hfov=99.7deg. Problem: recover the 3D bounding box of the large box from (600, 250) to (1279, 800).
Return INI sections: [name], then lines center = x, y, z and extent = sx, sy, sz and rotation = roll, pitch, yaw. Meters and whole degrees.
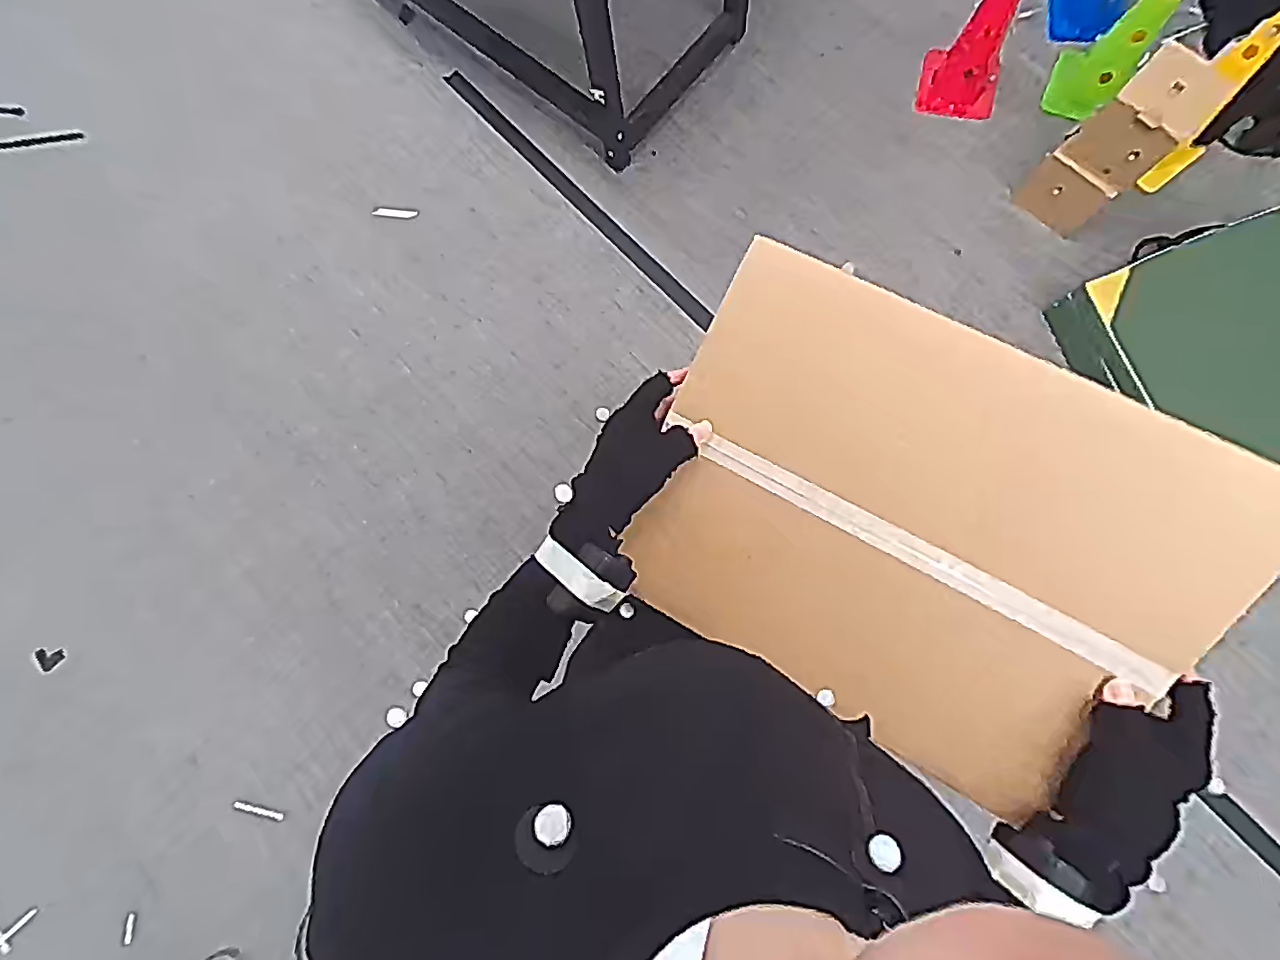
[large box]
center = 0.234, 0.012, 0.567
extent = 0.408, 0.320, 0.320
rotation = 29, 110, 10
